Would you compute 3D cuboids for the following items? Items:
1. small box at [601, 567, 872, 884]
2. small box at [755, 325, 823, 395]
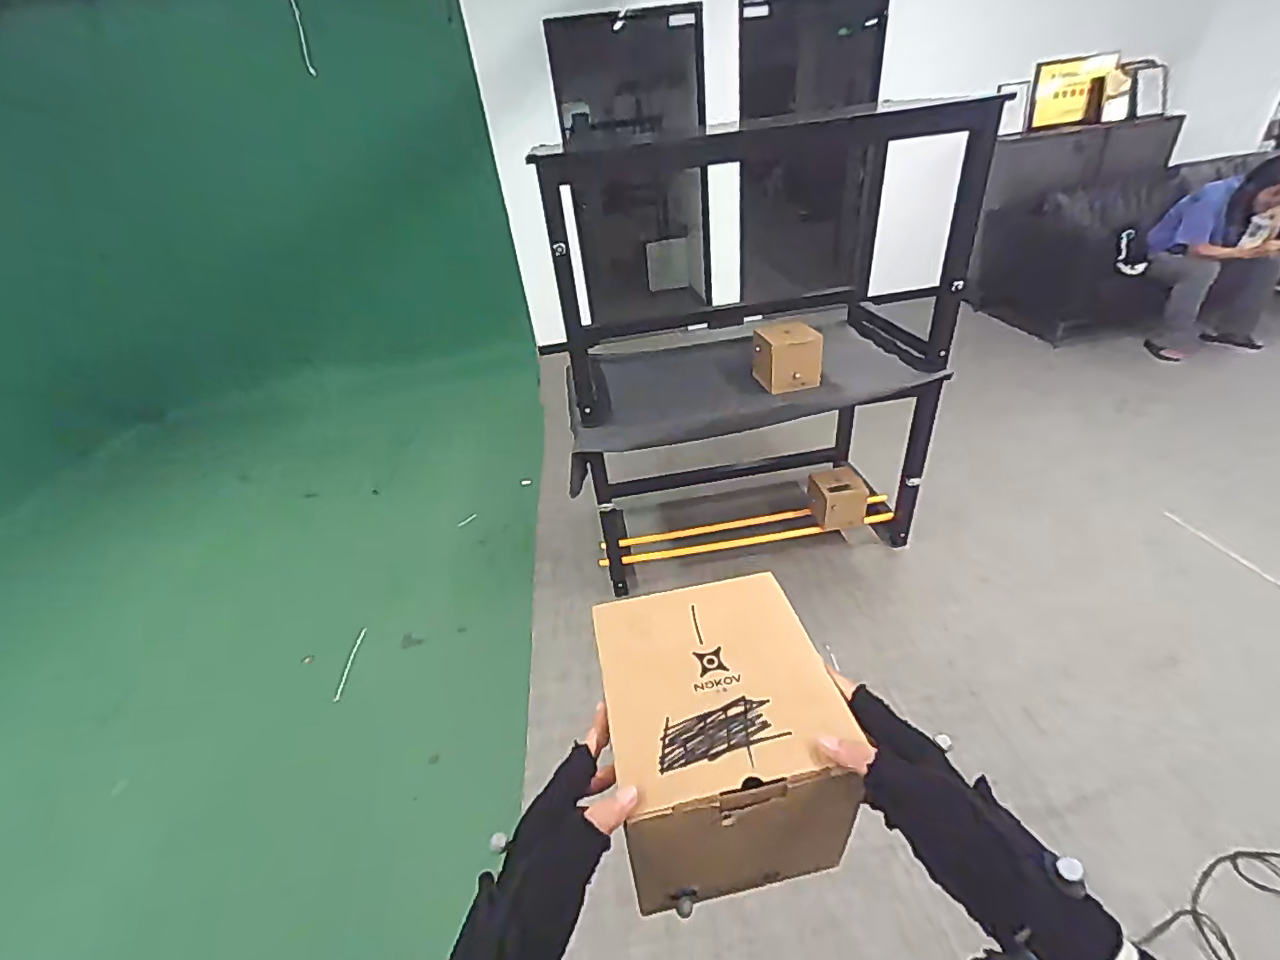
[{"bbox_3d":[0.065,0.205,0.456,0.168,0.176,0.179,-9,34,-6],"label":"small box"},{"bbox_3d":[0.483,-0.395,1.781,0.168,0.176,0.179,-11,33,-5],"label":"small box"}]
